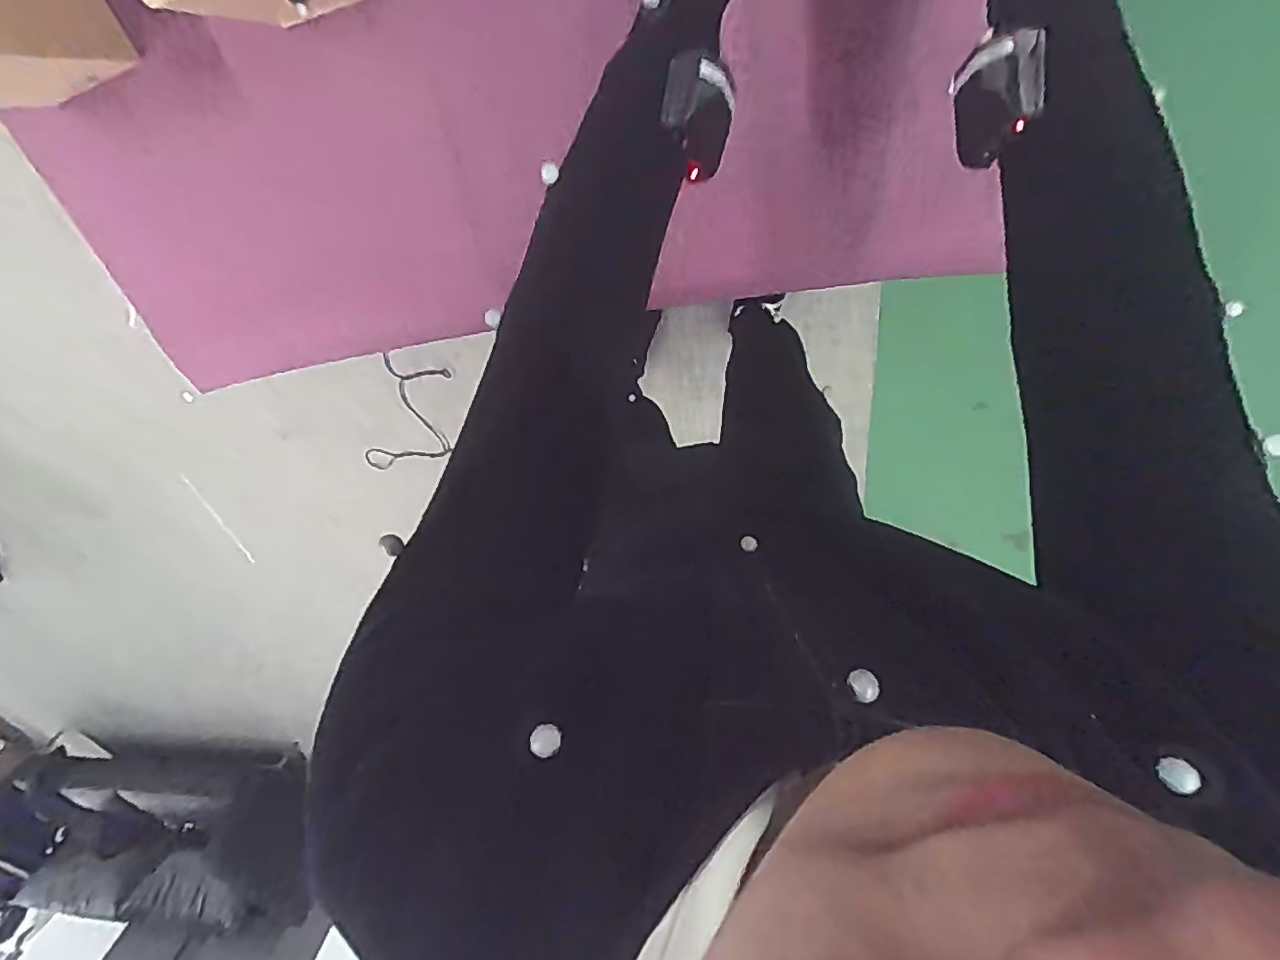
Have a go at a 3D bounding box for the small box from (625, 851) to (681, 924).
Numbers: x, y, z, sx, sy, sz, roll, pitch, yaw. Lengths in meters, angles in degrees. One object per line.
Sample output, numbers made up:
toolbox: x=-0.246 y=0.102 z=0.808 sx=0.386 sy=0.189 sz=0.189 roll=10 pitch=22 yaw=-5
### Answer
small box: x=0.055 y=1.532 z=2.038 sx=0.168 sy=0.176 sz=0.179 roll=-5 pitch=123 yaw=16

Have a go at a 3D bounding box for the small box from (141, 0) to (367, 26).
small box: x=-0.341 y=-0.517 z=0.453 sx=0.168 sy=0.176 sz=0.179 roll=-5 pitch=125 yaw=15
